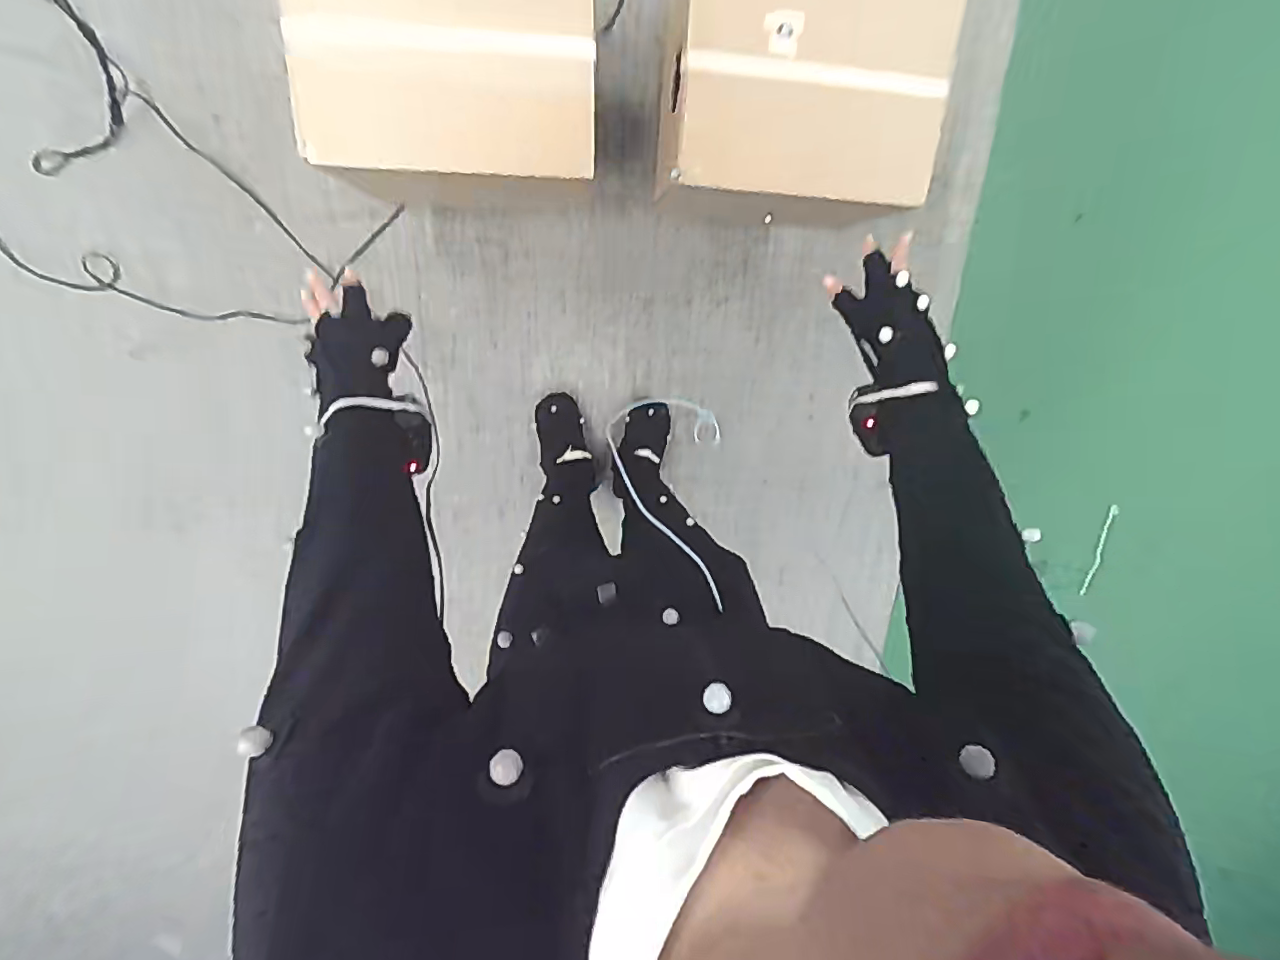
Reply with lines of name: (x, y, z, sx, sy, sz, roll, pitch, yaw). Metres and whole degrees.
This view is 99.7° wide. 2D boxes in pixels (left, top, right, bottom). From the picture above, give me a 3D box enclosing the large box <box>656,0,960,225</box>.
large box: (0.253, -0.644, 0.951, 0.408, 0.320, 0.320, 2, 108, -6)
